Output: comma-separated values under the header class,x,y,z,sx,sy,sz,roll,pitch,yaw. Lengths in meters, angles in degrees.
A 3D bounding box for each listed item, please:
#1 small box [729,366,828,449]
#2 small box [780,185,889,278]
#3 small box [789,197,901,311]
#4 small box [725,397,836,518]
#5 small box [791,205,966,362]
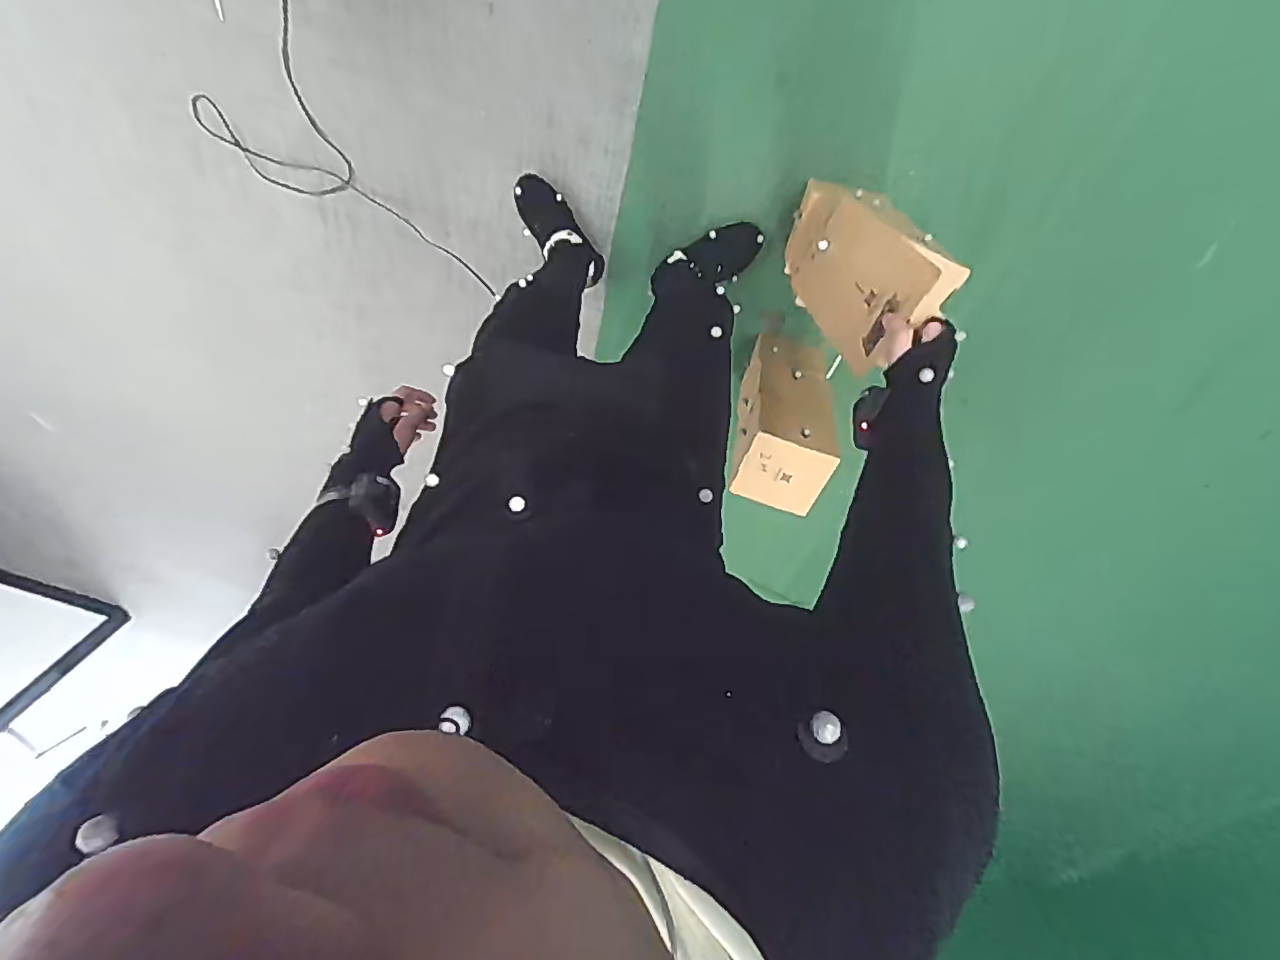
class,x,y,z,sx,sy,sz,roll,pitch,yaw
small box,0.330,-0.151,1.294,0.179,0.176,0.168,19,130,1
small box,0.417,-0.532,1.188,0.179,0.176,0.168,15,129,1
small box,0.401,-0.430,1.062,0.168,0.176,0.179,15,129,1
small box,0.299,-0.054,1.164,0.179,0.176,0.168,20,129,0
small box,0.385,-0.332,0.906,0.179,0.176,0.168,16,128,-18
